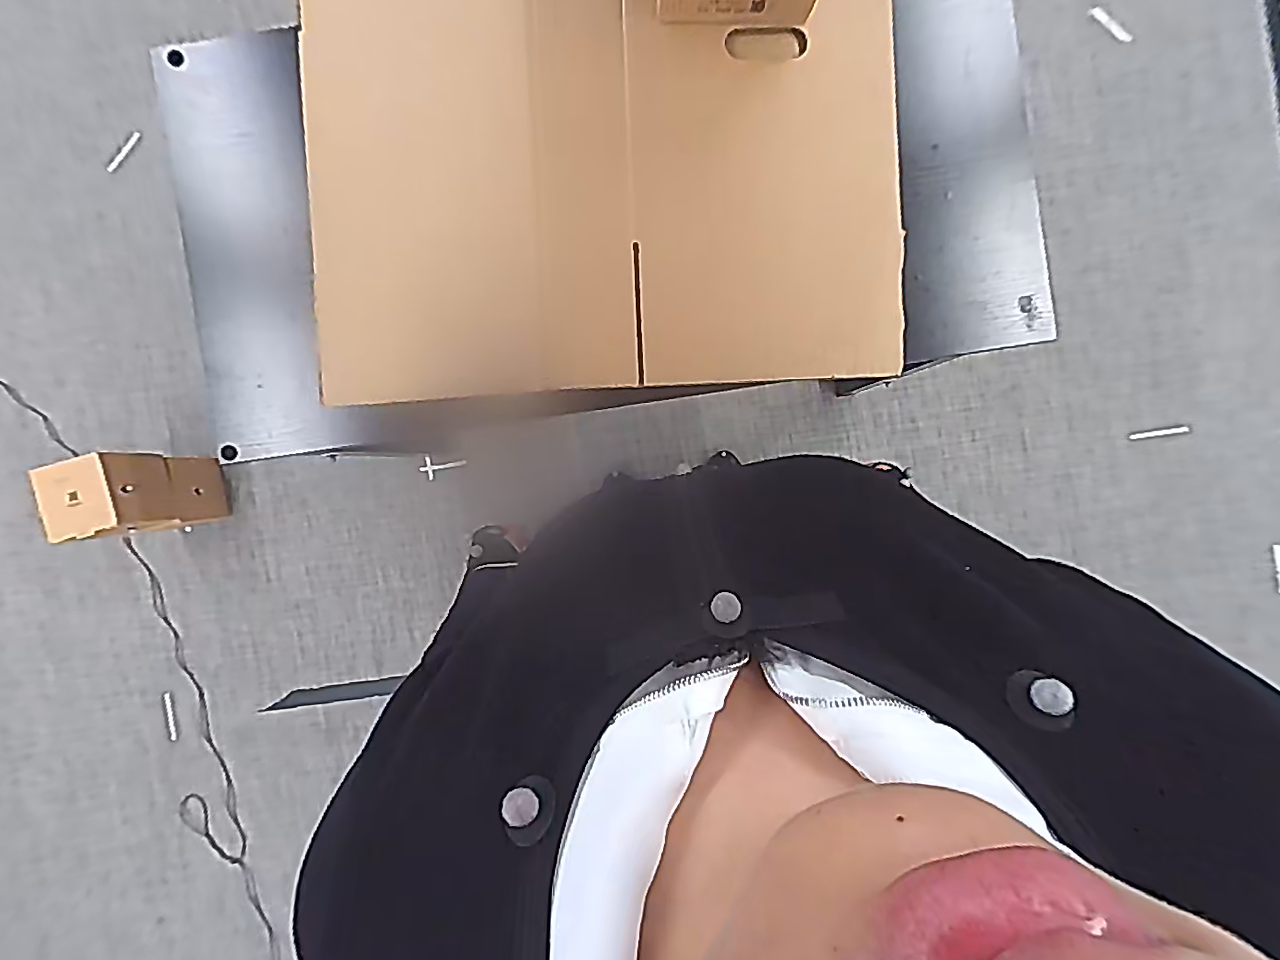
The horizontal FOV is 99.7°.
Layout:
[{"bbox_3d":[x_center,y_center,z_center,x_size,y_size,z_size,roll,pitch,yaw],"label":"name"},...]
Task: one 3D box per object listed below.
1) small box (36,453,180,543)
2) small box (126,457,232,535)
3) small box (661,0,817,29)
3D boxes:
[{"bbox_3d":[-1.265,0.039,1.300,0.168,0.176,0.179,-16,90,1],"label":"small box"},{"bbox_3d":[-1.257,0.041,1.463,0.168,0.176,0.179,-12,91,2],"label":"small box"},{"bbox_3d":[0.104,-0.579,0.506,0.168,0.176,0.179,-1,89,-1],"label":"small box"}]
